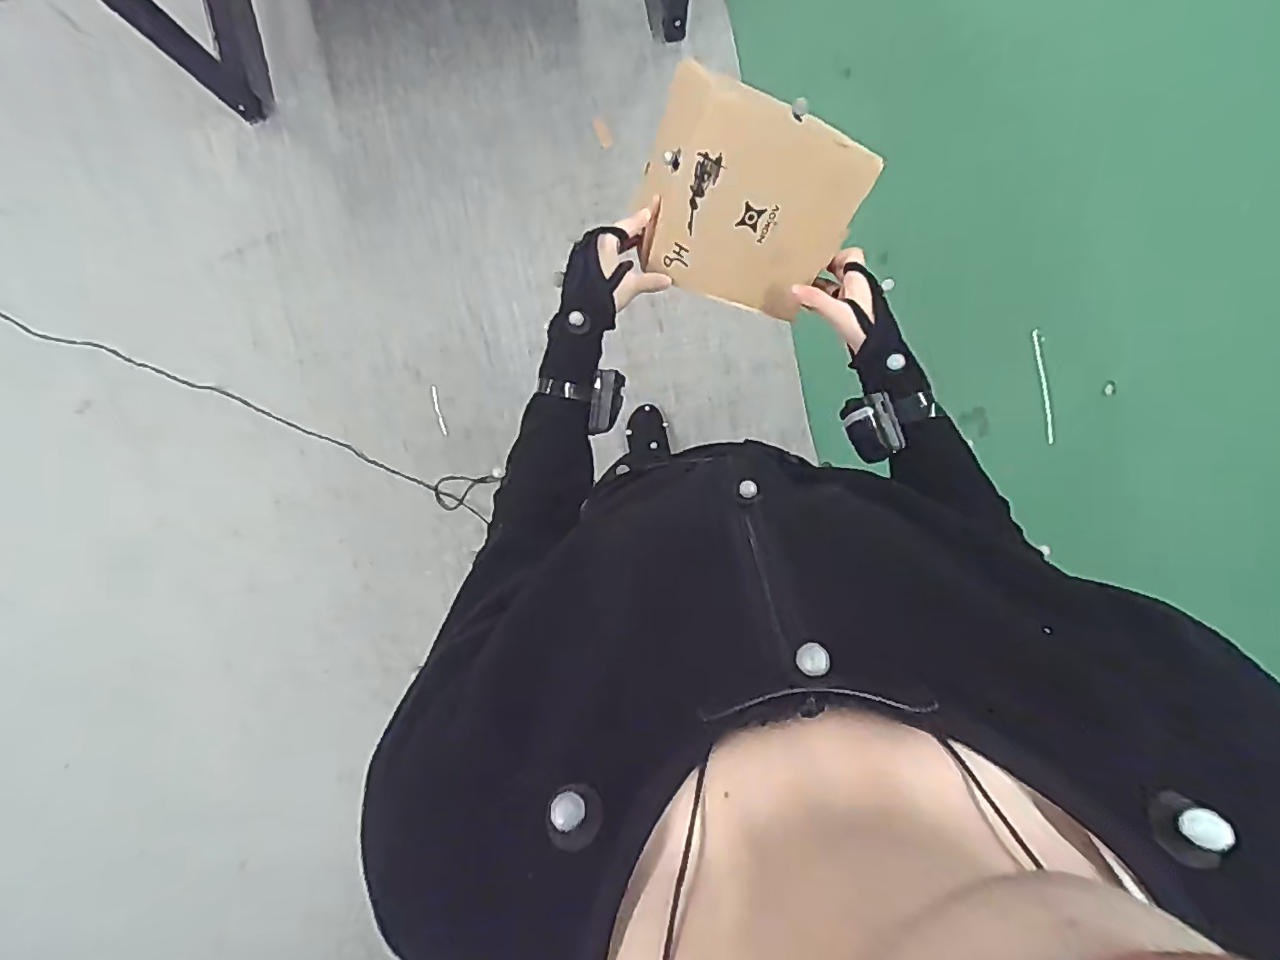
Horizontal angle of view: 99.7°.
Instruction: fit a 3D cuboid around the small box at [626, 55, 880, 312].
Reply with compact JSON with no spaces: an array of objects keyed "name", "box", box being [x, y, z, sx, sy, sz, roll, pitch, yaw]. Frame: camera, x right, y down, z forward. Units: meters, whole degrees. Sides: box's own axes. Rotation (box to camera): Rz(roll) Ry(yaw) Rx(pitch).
[{"name":"small box","box":[0.096,-0.303,0.553,0.179,0.176,0.168,11,130,-18]}]
